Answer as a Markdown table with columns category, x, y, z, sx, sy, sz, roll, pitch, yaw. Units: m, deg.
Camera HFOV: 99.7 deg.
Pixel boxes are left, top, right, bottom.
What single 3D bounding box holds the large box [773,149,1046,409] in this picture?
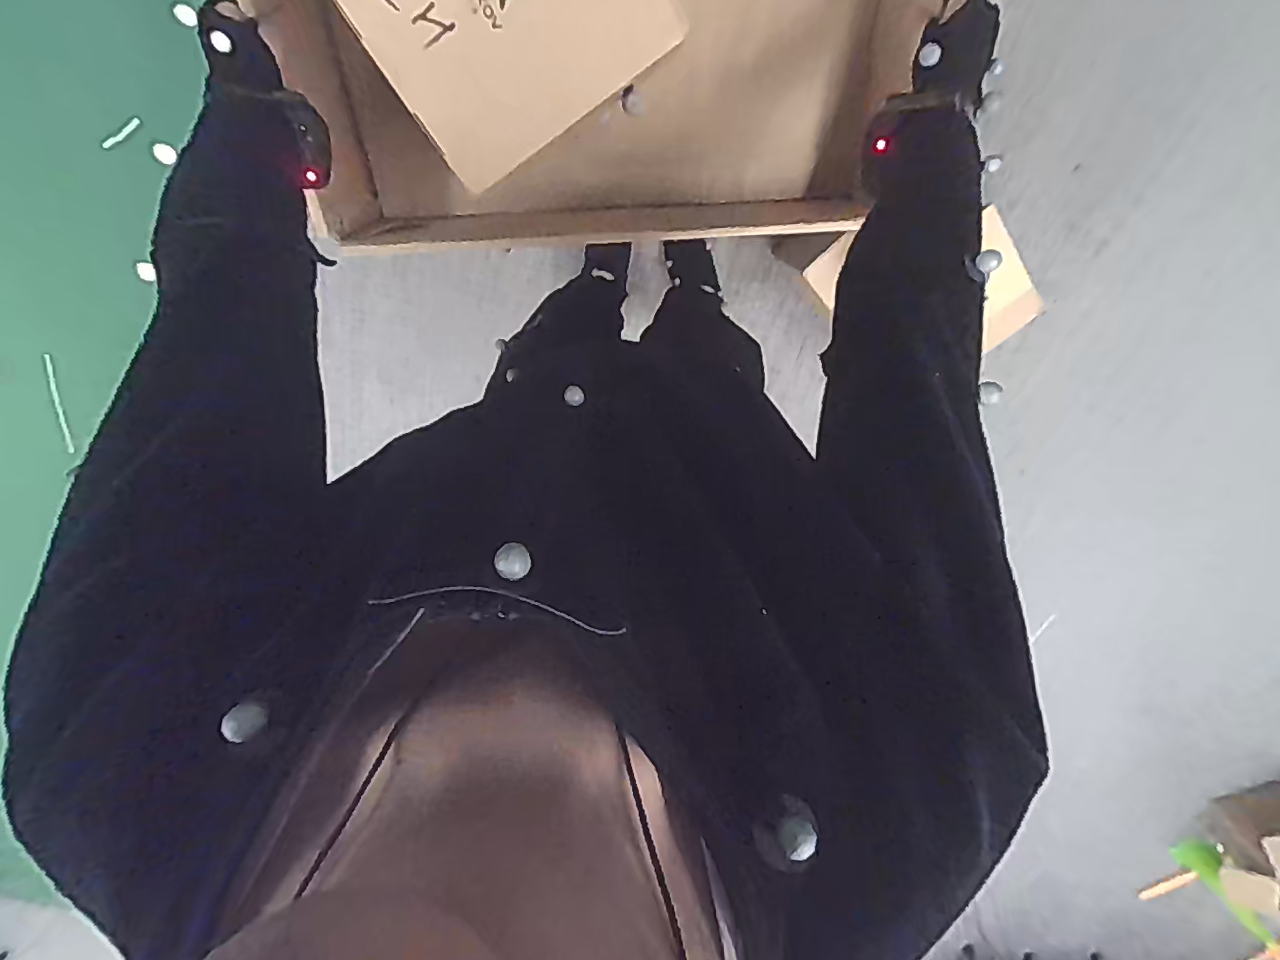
| category | x | y | z | sx | sy | sz | roll | pitch | yaw |
| --- | --- | --- | --- | --- | --- | --- | --- | --- | --- |
| large box | 0.560 | -0.438 | 1.188 | 0.320 | 0.320 | 0.408 | -41 | 112 | 21 |

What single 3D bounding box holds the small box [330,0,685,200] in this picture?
| category | x | y | z | sx | sy | sz | roll | pitch | yaw |
| --- | --- | --- | --- | --- | --- | --- | --- | --- | --- |
| small box | -0.087 | -0.333 | 0.381 | 0.179 | 0.176 | 0.168 | -27 | 119 | 17 |
